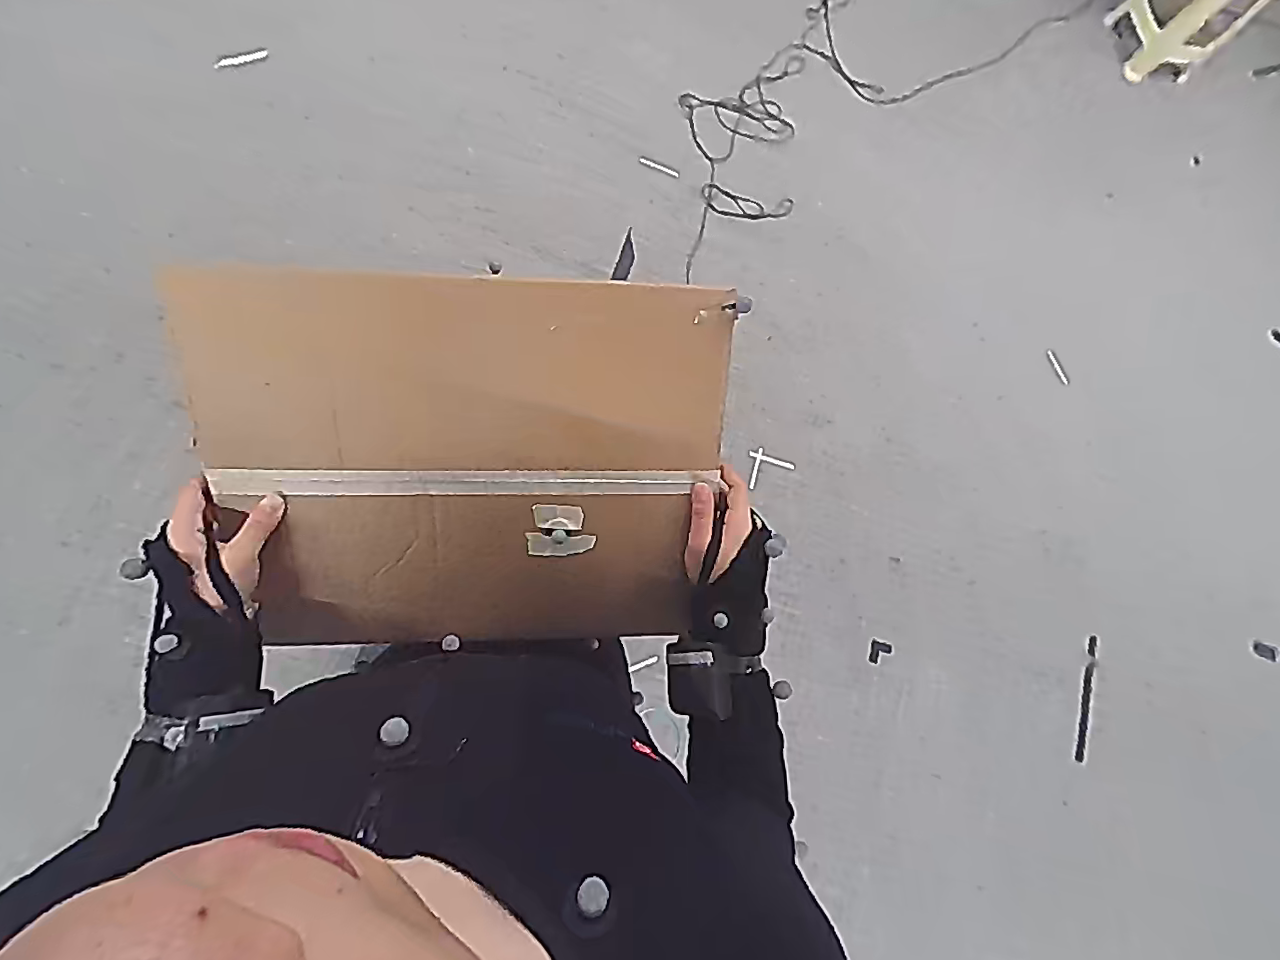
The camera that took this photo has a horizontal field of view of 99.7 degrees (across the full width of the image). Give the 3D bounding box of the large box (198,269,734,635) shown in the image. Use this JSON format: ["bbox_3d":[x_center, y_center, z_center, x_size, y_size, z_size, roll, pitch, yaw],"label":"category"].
[{"bbox_3d":[-0.145,-0.056,0.597,0.408,0.320,0.320,0,111,-8],"label":"large box"}]
